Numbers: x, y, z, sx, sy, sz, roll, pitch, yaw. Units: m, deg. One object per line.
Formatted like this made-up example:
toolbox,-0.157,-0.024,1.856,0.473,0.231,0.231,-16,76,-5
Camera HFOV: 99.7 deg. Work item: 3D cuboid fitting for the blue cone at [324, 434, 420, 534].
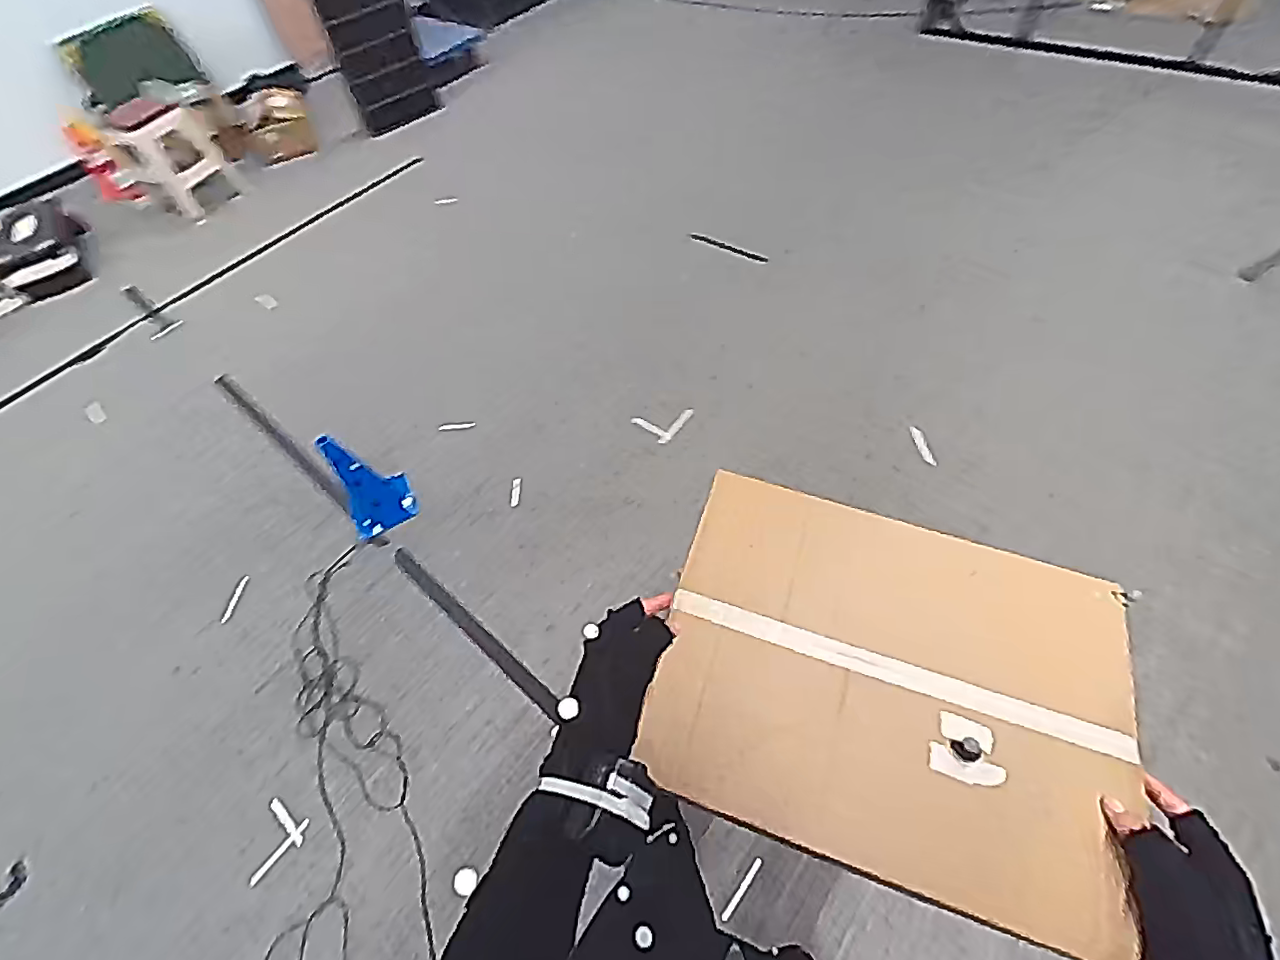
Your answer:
blue cone,-0.865,-0.009,1.694,0.193,0.380,0.192,-27,57,-11
